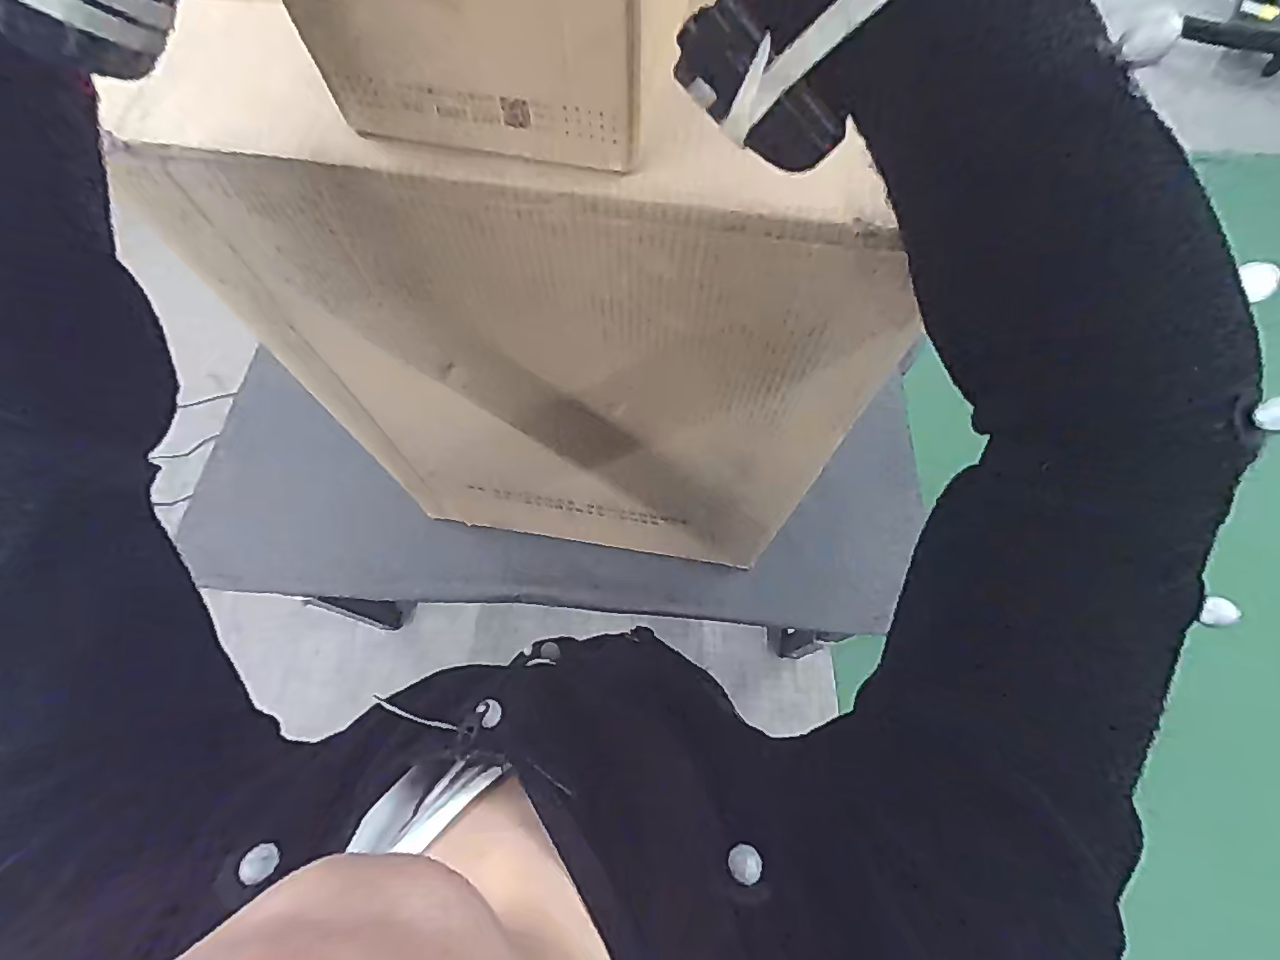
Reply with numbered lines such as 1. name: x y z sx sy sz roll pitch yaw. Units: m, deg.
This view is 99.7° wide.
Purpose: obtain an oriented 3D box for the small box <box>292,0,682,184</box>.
1. small box: -0.066 -0.280 0.262 0.168 0.176 0.179 11 67 4
